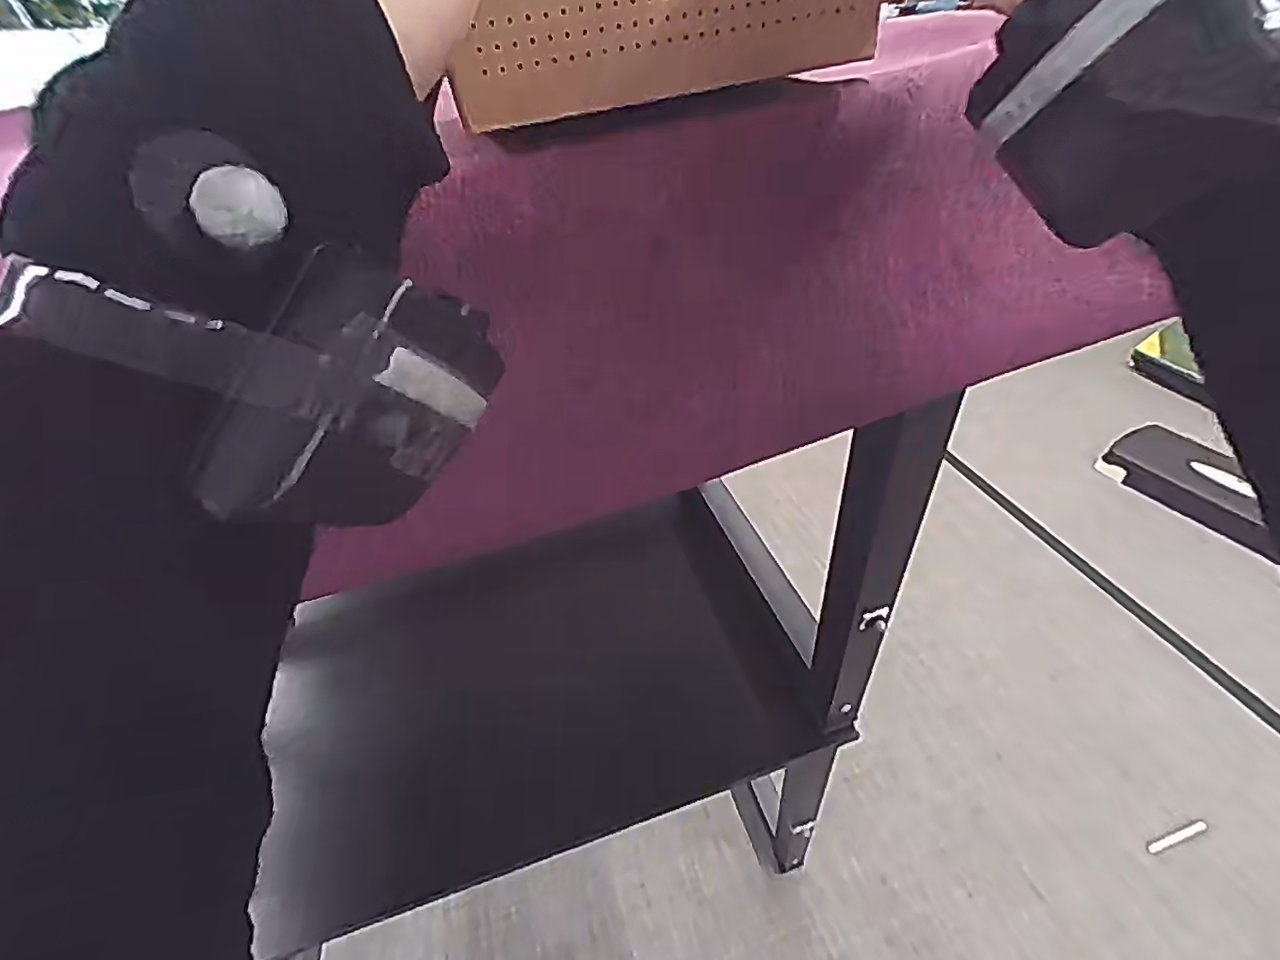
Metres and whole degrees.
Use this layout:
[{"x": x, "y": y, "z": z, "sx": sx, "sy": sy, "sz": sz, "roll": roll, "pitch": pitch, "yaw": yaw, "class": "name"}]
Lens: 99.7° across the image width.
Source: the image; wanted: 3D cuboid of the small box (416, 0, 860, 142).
[{"x": -0.015, "y": -0.256, "z": 0.219, "sx": 0.179, "sy": 0.176, "sz": 0.168, "roll": -17, "pitch": 38, "yaw": -8, "class": "small box"}]
